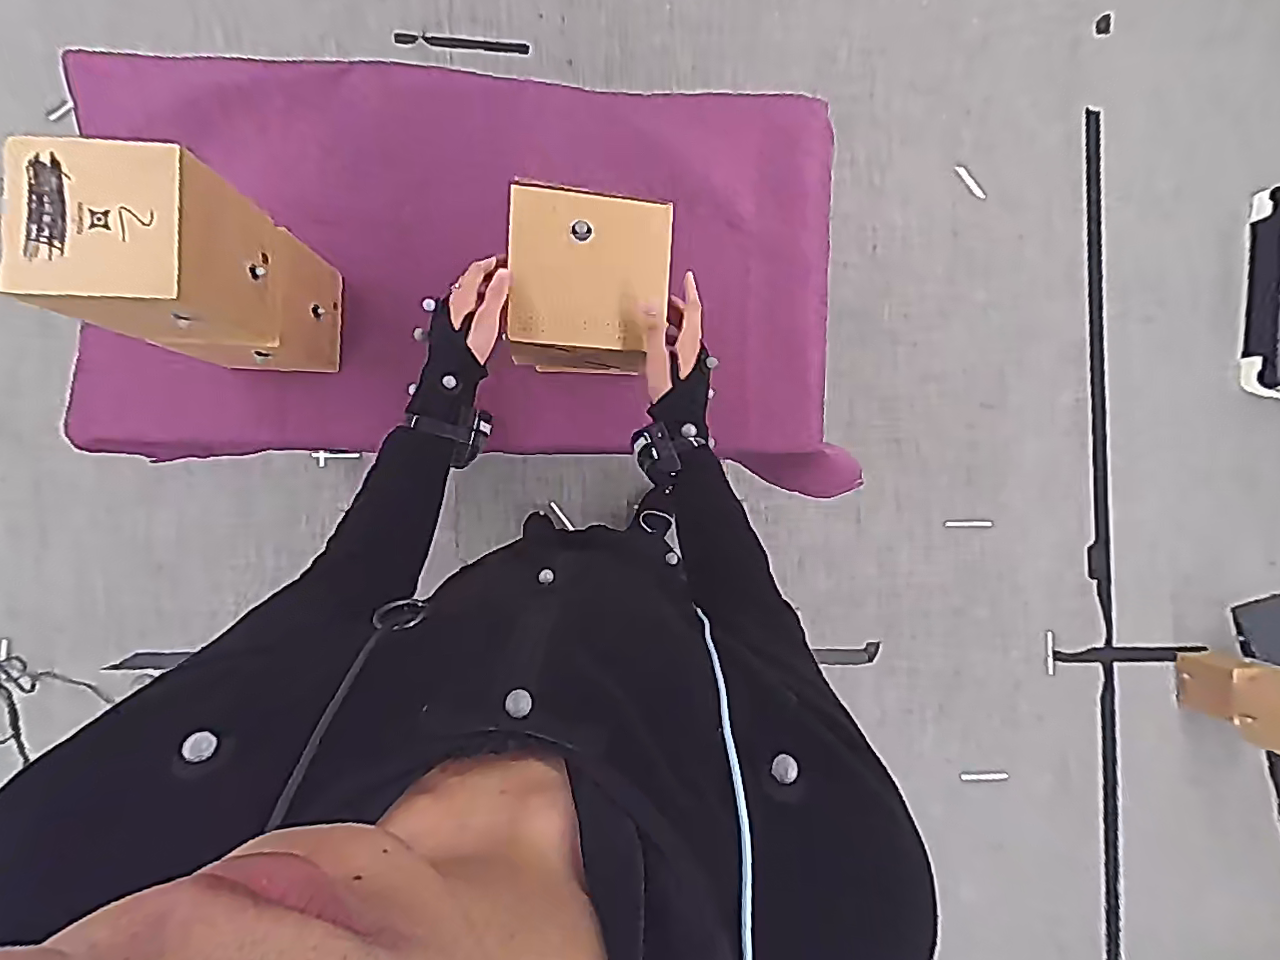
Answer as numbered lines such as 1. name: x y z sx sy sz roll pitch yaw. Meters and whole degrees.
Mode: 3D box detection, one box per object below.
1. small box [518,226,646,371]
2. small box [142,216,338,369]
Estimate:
1. small box: -0.085 -0.267 0.832 0.179 0.176 0.168 1 89 -4
2. small box: -0.572 -0.264 0.799 0.179 0.176 0.168 2 89 -4
